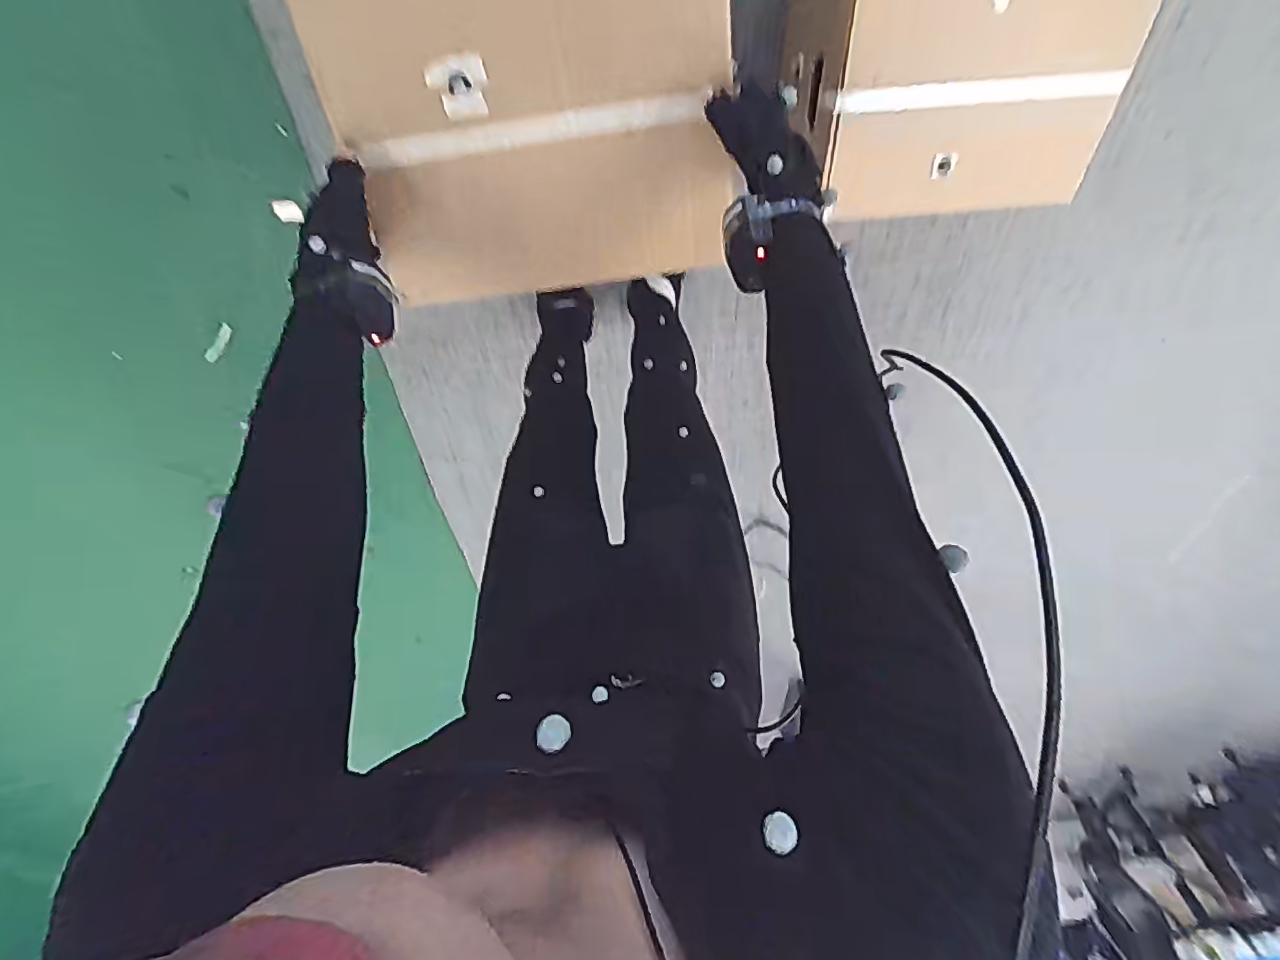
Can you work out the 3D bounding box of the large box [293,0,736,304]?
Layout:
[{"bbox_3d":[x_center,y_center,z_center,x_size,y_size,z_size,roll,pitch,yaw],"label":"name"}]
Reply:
[{"bbox_3d":[-0.109,-0.444,0.678,0.408,0.320,0.320,-7,123,2],"label":"large box"}]
